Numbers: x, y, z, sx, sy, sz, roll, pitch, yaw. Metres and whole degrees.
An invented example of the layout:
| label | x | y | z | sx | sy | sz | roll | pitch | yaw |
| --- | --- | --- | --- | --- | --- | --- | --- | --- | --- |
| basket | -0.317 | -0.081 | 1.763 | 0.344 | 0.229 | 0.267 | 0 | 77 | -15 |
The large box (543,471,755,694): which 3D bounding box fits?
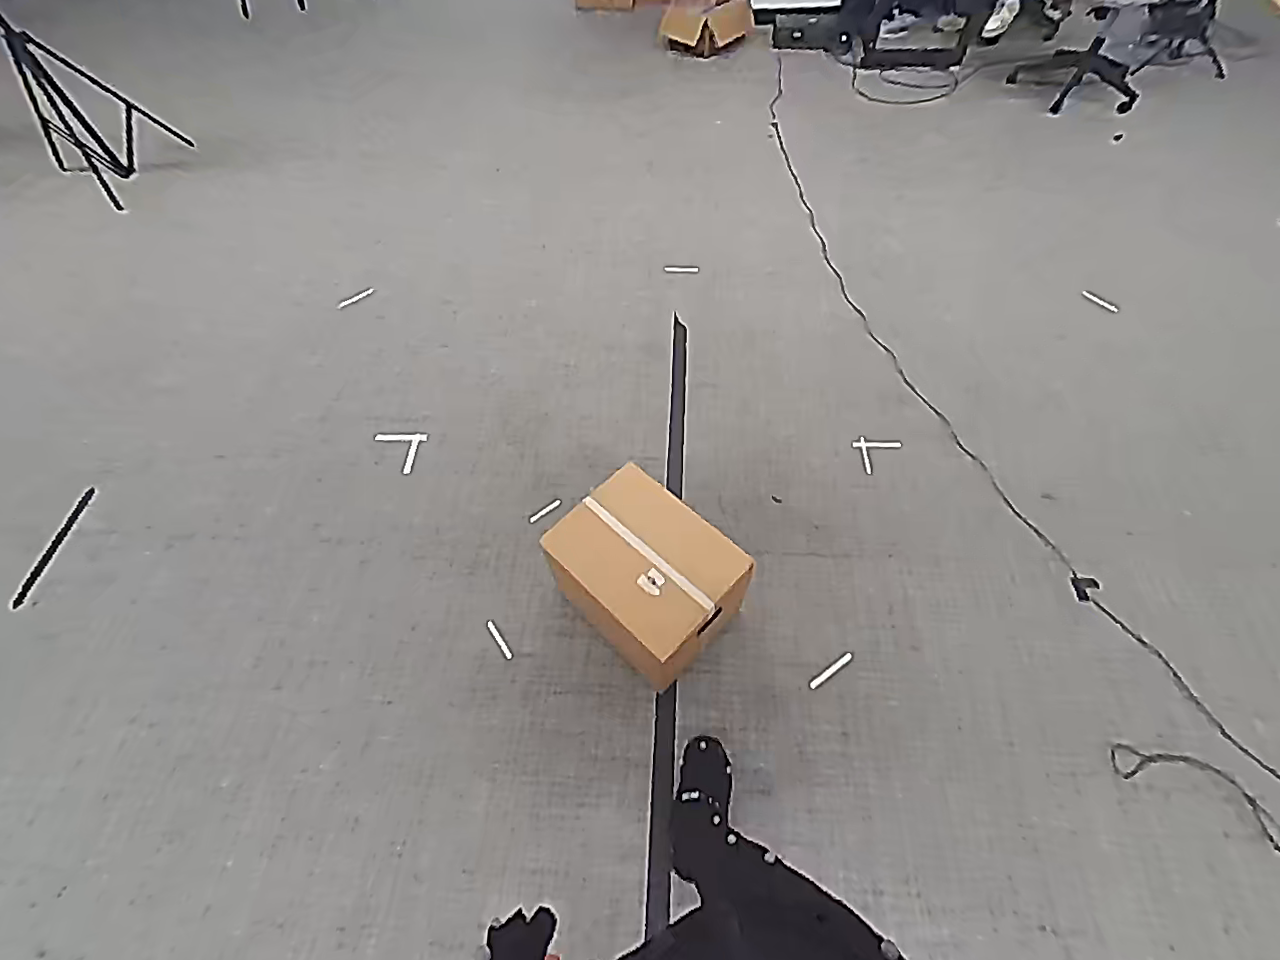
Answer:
| label | x | y | z | sx | sy | sz | roll | pitch | yaw |
| --- | --- | --- | --- | --- | --- | --- | --- | --- | --- |
| large box | 0.017 | 0.259 | 1.371 | 0.408 | 0.320 | 0.320 | 39 | 66 | 23 |
